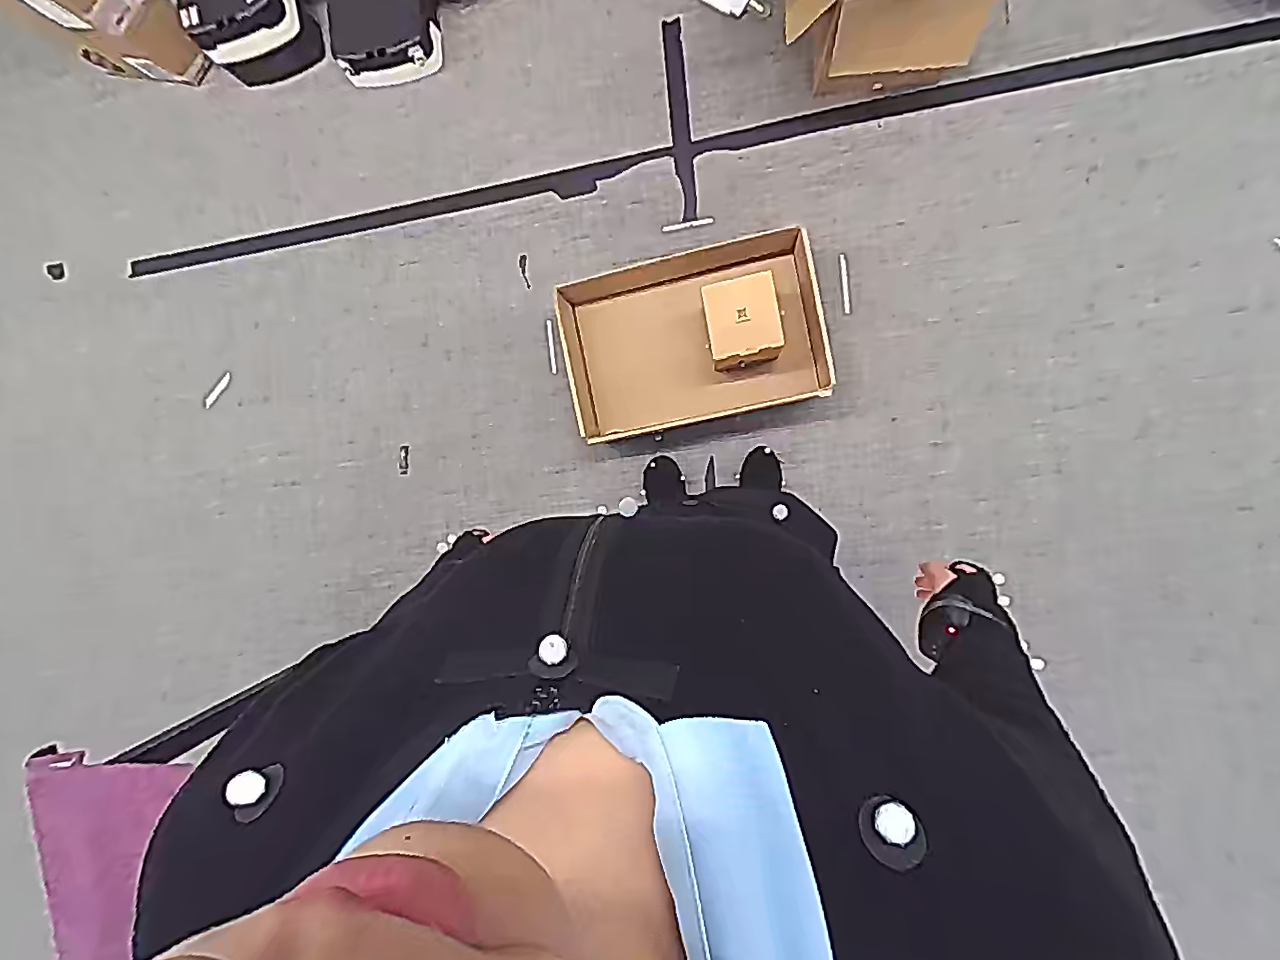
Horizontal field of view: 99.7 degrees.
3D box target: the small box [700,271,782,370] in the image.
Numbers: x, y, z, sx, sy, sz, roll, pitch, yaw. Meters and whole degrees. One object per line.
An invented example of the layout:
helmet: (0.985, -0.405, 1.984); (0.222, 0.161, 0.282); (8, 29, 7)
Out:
small box: (0.241, -0.381, 1.320); (0.168, 0.176, 0.179); (-11, 92, 9)
